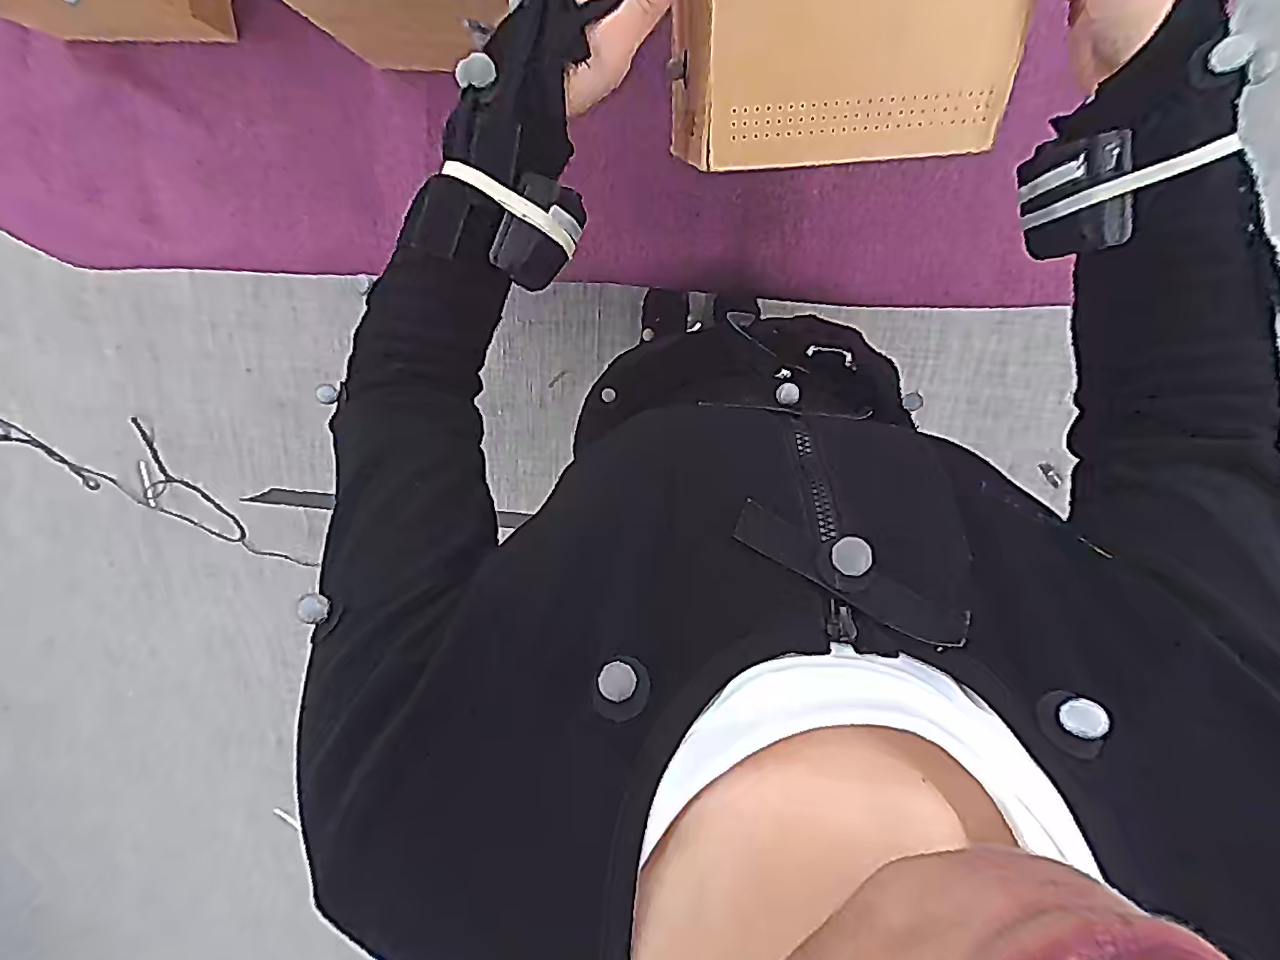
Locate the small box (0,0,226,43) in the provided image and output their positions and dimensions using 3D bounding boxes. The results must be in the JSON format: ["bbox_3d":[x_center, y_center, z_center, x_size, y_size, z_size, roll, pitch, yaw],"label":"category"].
[{"bbox_3d":[-0.465,-0.470,0.417,0.179,0.176,0.168,1,110,1],"label":"small box"}]
